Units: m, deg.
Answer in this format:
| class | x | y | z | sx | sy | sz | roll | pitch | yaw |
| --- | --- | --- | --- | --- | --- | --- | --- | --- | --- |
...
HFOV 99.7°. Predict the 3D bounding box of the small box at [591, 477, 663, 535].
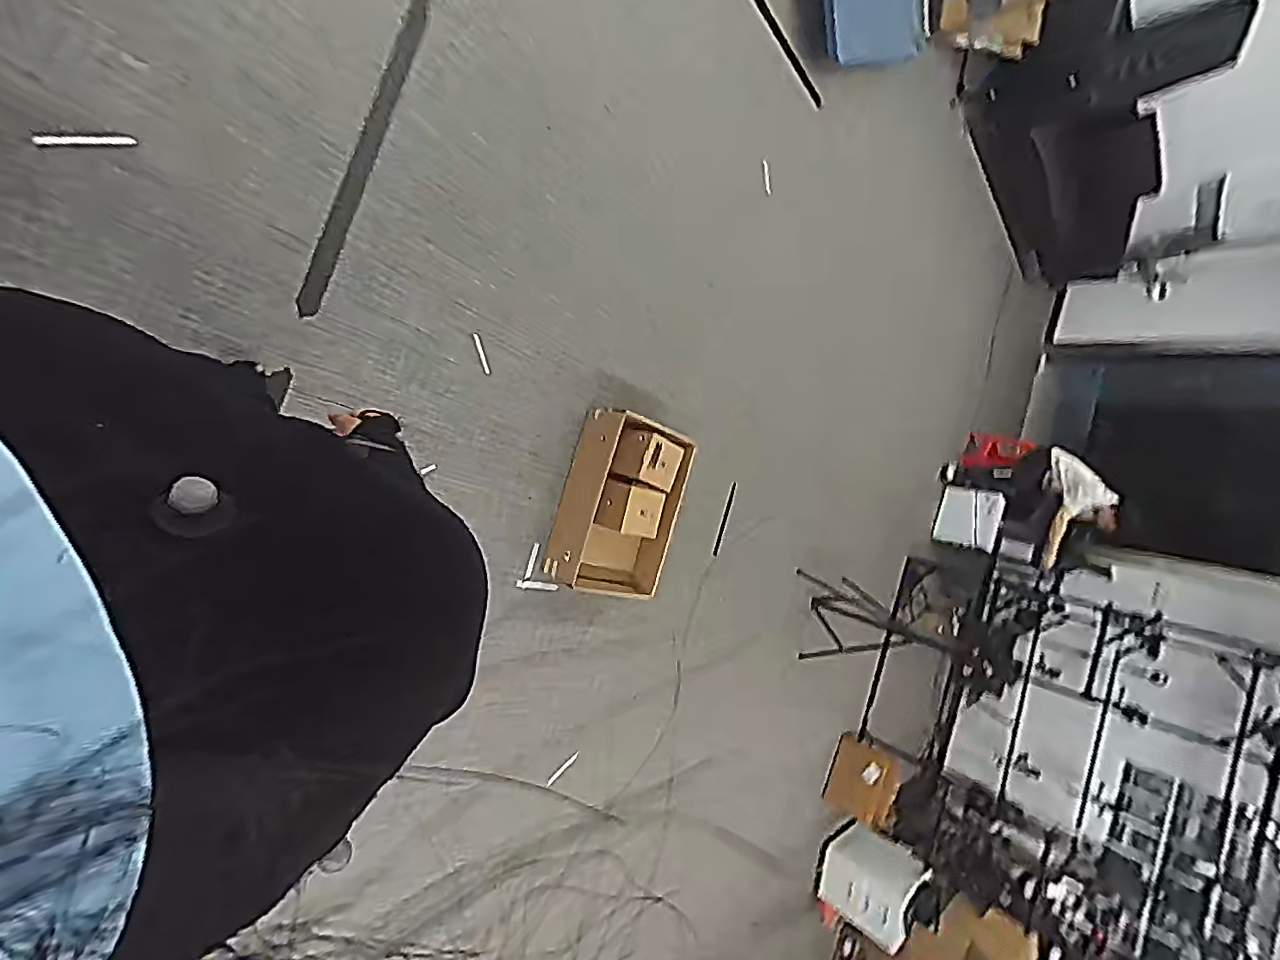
| class | x | y | z | sx | sy | sz | roll | pitch | yaw |
| --- | --- | --- | --- | --- | --- | --- | --- | --- | --- |
| small box | -0.051 | 0.090 | 1.930 | 0.179 | 0.176 | 0.168 | 14 | 90 | -44 |
